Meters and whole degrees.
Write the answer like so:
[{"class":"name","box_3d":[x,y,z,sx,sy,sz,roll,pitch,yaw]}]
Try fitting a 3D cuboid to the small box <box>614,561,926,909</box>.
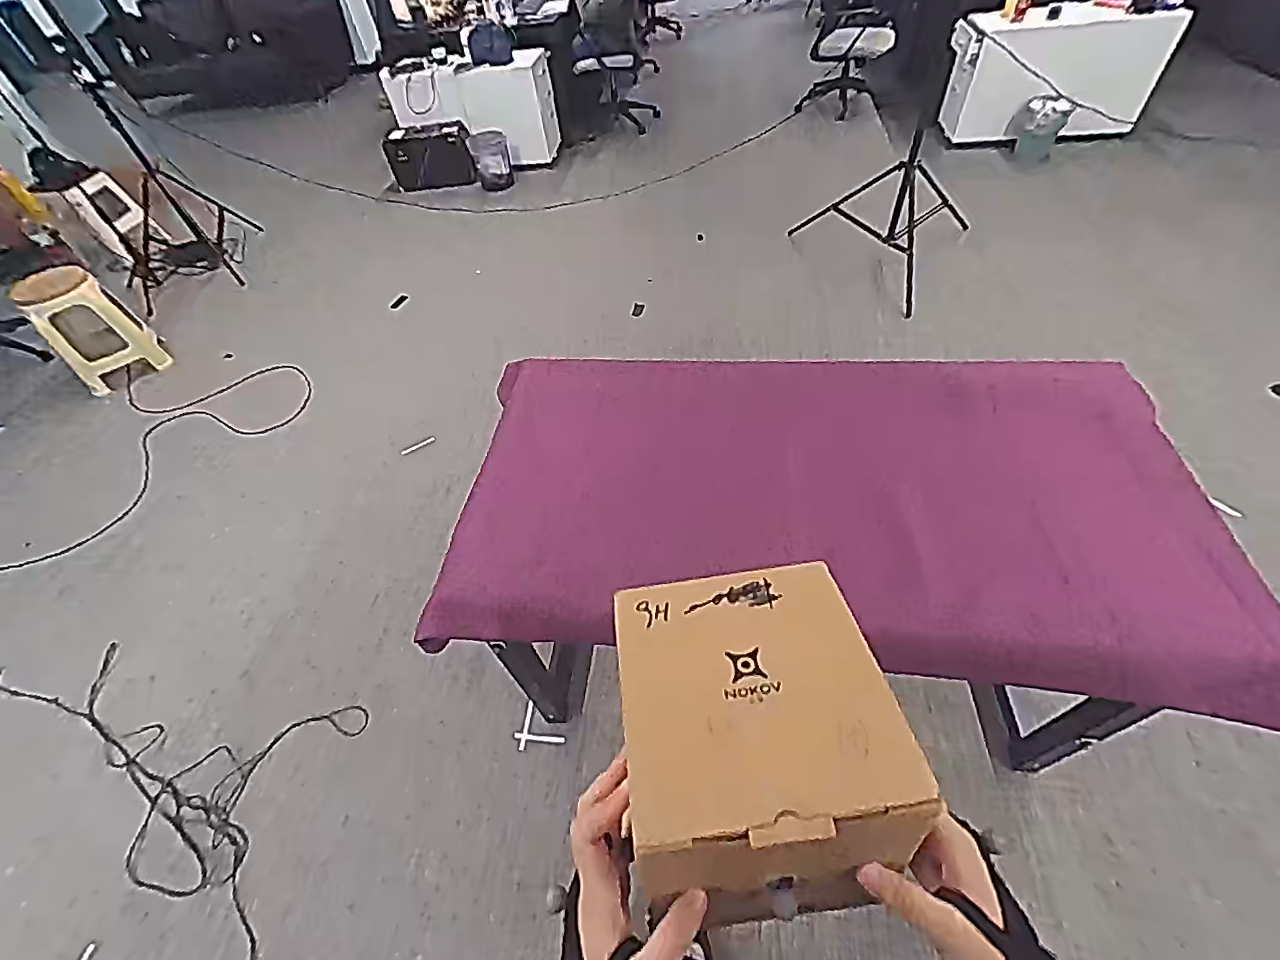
[{"class":"small box","box_3d":[0.076,0.189,0.401,0.168,0.176,0.179,-8,39,-1]}]
